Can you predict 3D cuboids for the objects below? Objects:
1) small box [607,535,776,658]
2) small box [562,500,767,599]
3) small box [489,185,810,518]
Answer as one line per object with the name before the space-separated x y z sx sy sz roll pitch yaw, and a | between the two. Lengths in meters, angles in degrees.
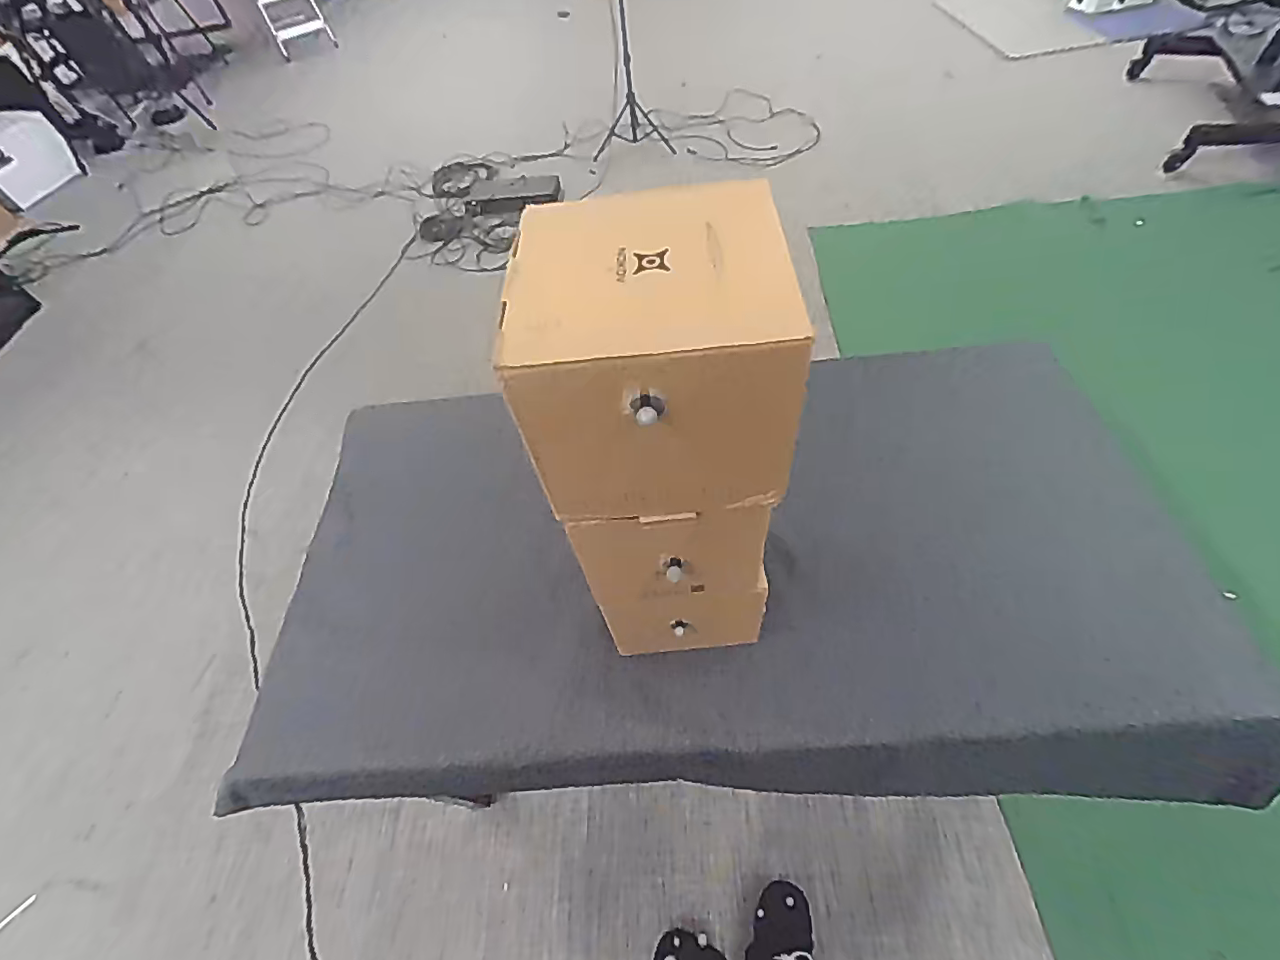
small box | 0.051 0.104 0.660 0.179 0.176 0.168 -8 54 0
small box | 0.024 0.007 0.531 0.168 0.176 0.179 -6 55 3
small box | 0.011 -0.083 0.396 0.179 0.176 0.168 -4 55 4
